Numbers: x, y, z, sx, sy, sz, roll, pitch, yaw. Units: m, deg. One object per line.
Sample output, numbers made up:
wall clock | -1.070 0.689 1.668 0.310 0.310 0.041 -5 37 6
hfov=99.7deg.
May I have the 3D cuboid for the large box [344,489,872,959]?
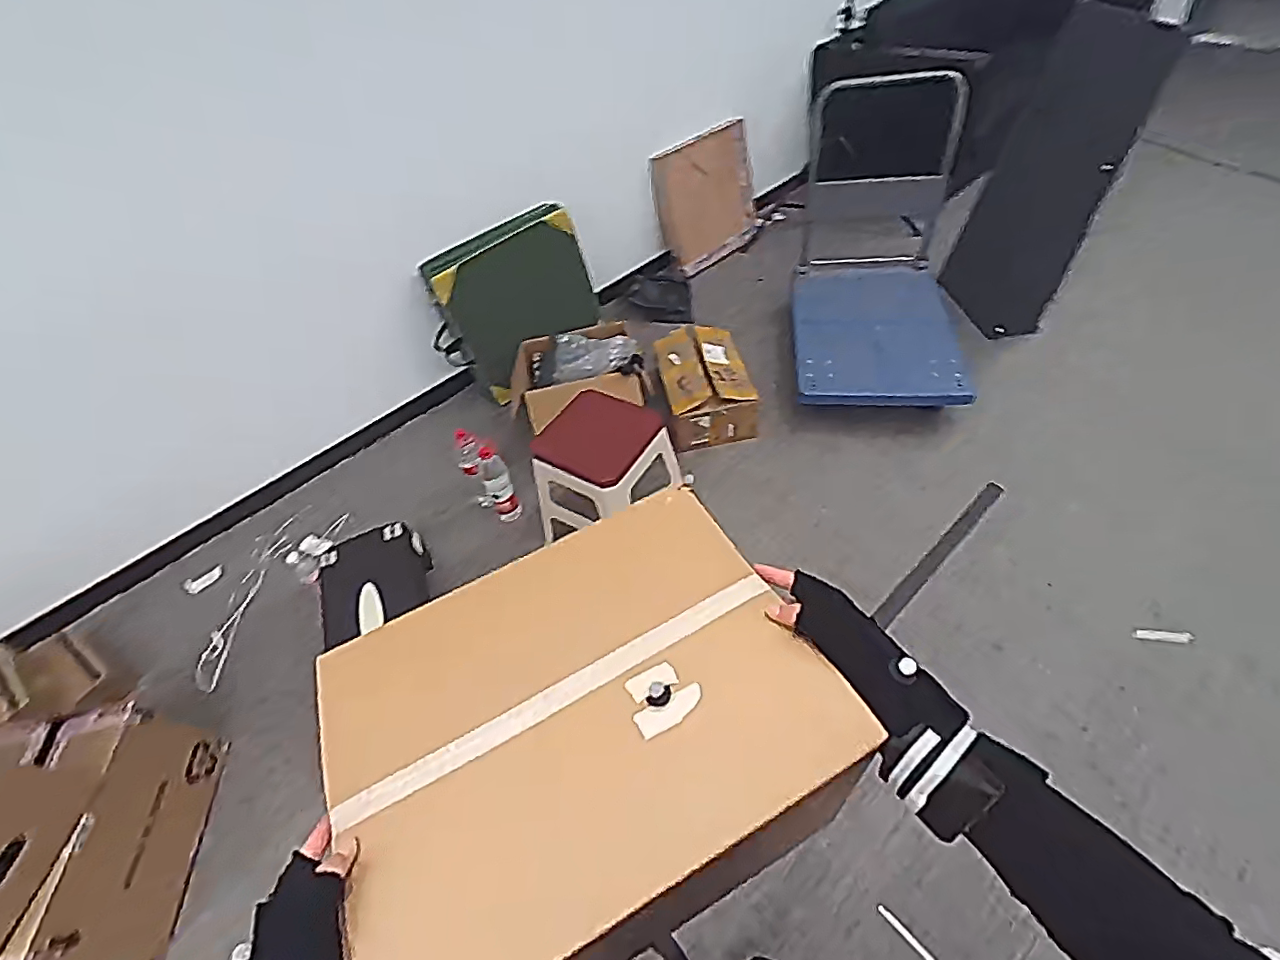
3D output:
large box | -0.034 0.284 0.589 0.408 0.320 0.320 -25 49 -12
